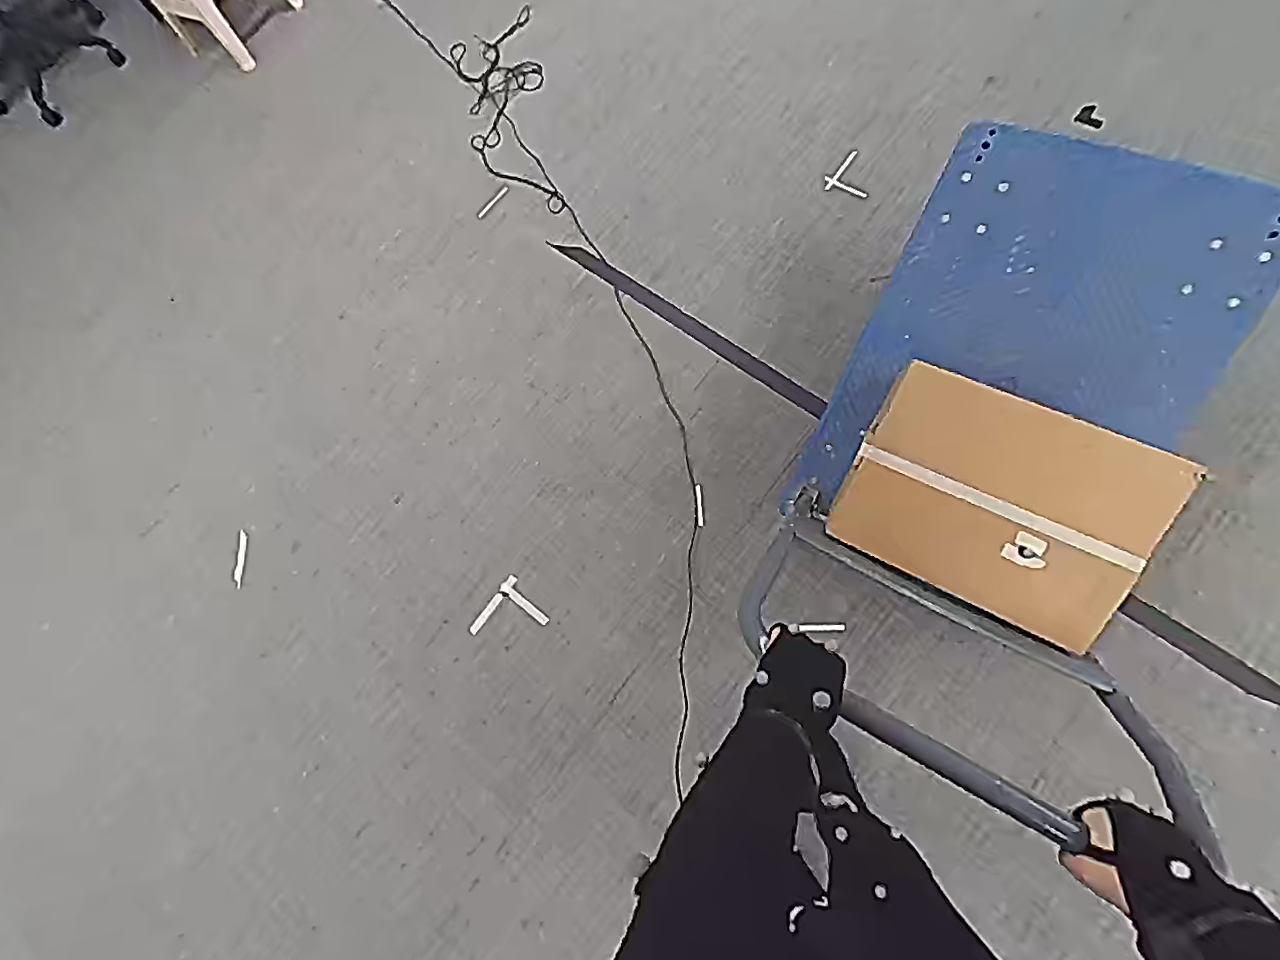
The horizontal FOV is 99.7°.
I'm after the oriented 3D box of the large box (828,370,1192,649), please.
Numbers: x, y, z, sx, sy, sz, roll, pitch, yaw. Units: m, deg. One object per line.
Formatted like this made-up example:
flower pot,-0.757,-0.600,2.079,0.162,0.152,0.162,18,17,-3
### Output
large box,0.595,0.028,0.980,0.408,0.320,0.320,27,104,16
